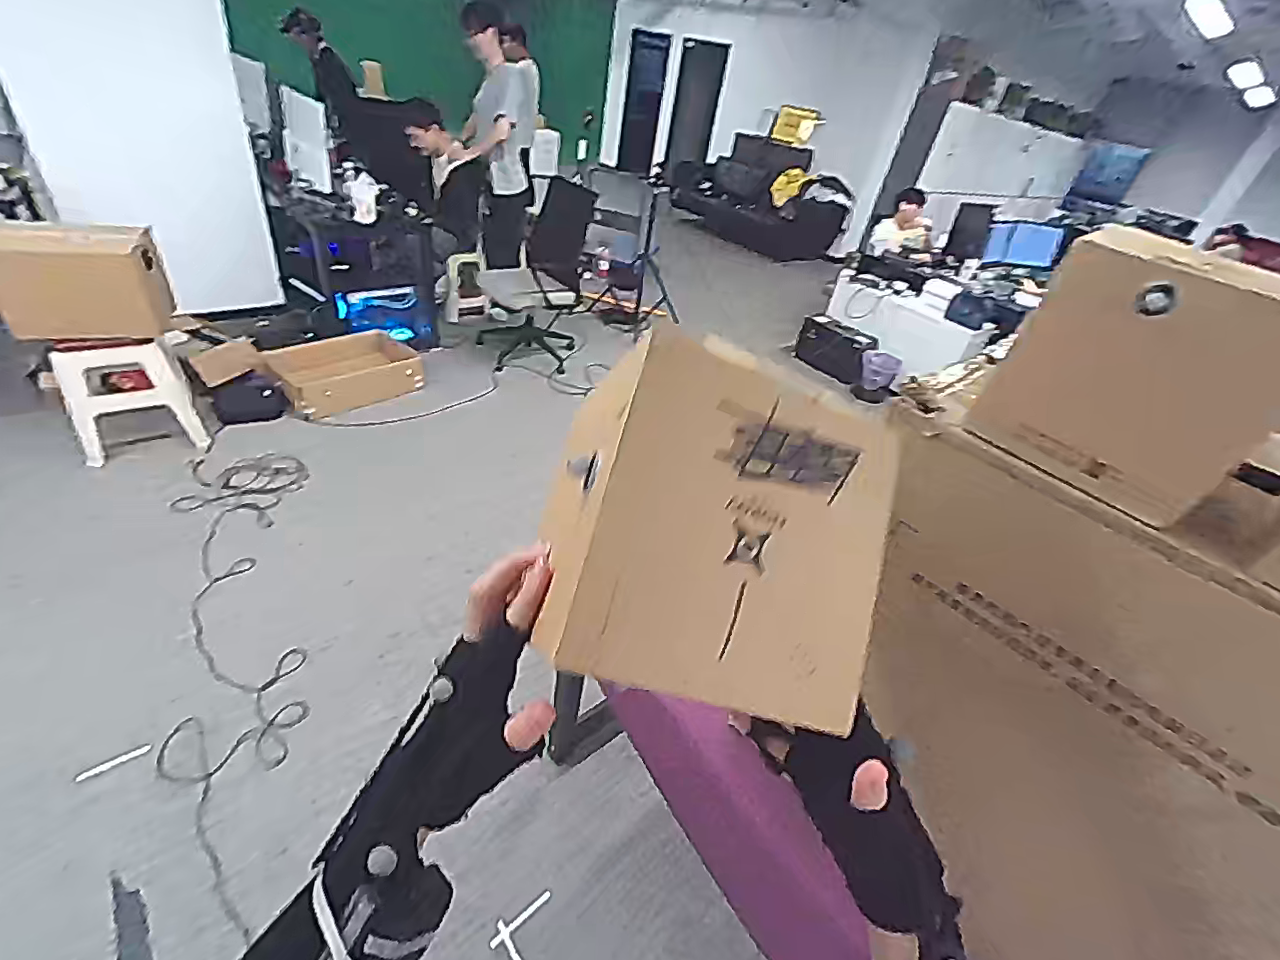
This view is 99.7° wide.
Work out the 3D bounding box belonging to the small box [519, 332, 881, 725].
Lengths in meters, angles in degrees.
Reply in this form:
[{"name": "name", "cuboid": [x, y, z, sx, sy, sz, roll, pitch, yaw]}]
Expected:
[{"name": "small box", "cuboid": [0.028, 0.040, 0.360, 0.168, 0.176, 0.179, 19, 74, -16]}]
